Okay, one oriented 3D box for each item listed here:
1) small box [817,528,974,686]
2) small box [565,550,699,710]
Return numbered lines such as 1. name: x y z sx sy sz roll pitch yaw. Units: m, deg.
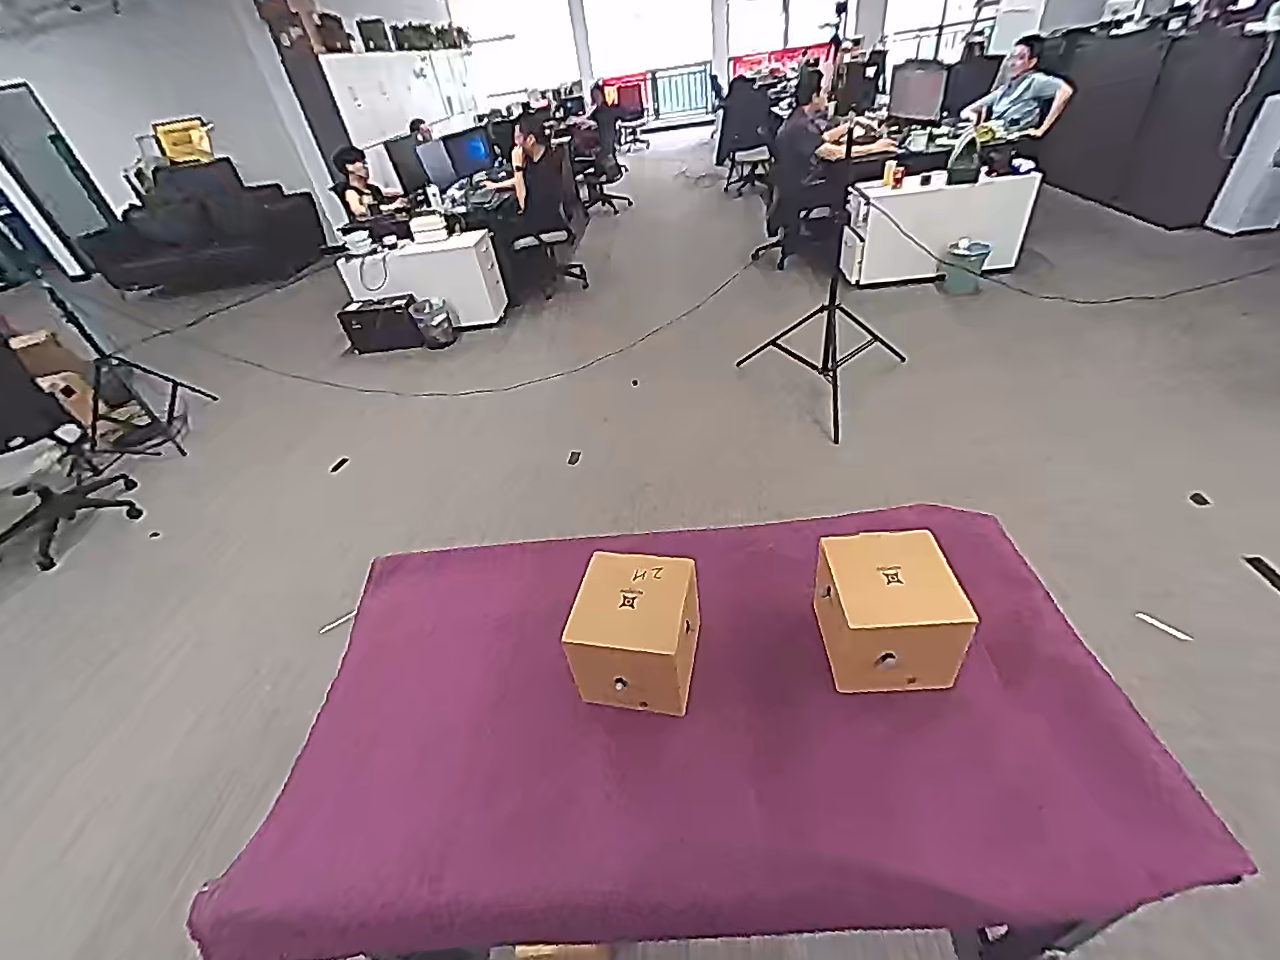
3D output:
1. small box: 0.375 0.199 0.829 0.168 0.176 0.179 -5 38 6
2. small box: 0.000 0.236 0.856 0.168 0.176 0.179 3 40 14
